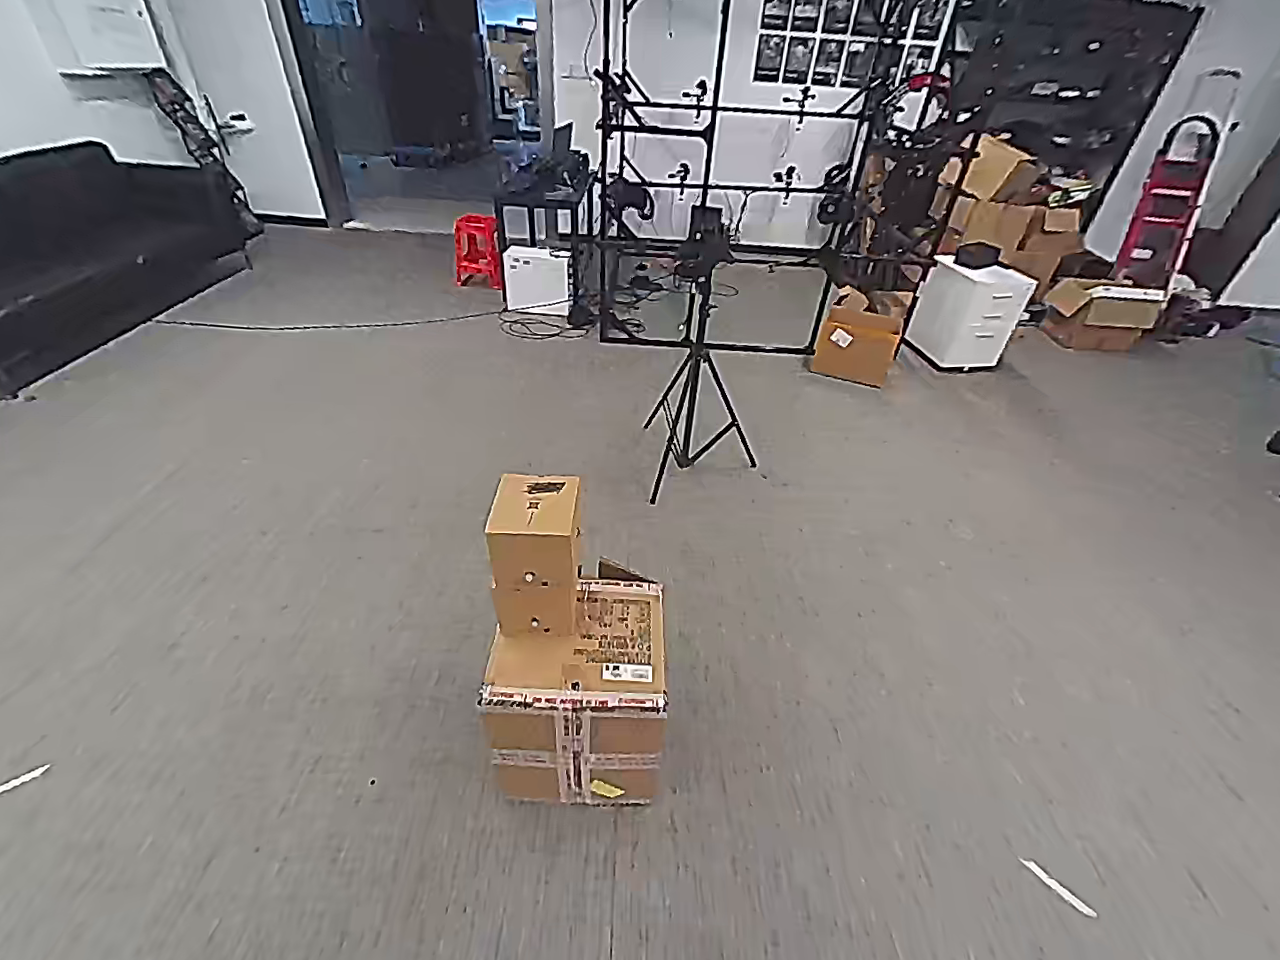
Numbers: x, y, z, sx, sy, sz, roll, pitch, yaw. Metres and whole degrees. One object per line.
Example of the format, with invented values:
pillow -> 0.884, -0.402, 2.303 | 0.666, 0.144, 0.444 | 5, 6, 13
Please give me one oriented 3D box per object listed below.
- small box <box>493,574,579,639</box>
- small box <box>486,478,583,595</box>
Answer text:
small box -> -0.229, 0.241, 1.237 | 0.168, 0.176, 0.179 | -1, 40, -2
small box -> -0.209, 0.117, 1.129 | 0.168, 0.176, 0.179 | 2, 40, 0
